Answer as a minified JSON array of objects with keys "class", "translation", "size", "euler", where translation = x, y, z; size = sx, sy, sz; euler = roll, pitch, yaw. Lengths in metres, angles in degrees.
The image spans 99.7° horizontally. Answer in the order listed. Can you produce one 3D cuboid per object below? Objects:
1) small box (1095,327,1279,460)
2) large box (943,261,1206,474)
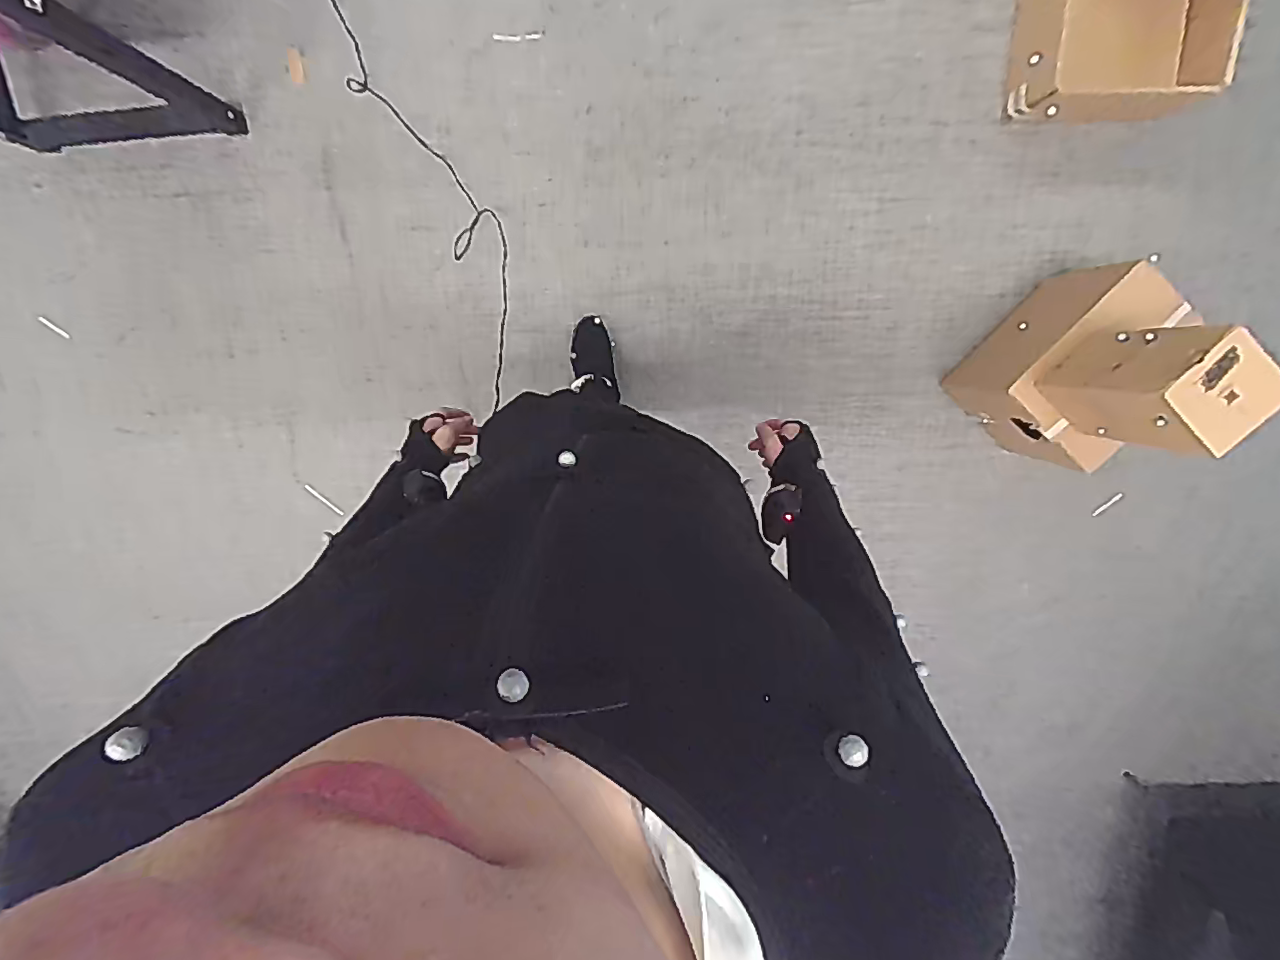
[{"class":"small box","translation":[1.032,-0.164,1.021],"size":[0.179,0.176,0.168],"euler":[42,100,-9]},{"class":"large box","translation":[1.113,-0.283,1.414],"size":[0.320,0.320,0.408],"euler":[40,99,-9]}]
